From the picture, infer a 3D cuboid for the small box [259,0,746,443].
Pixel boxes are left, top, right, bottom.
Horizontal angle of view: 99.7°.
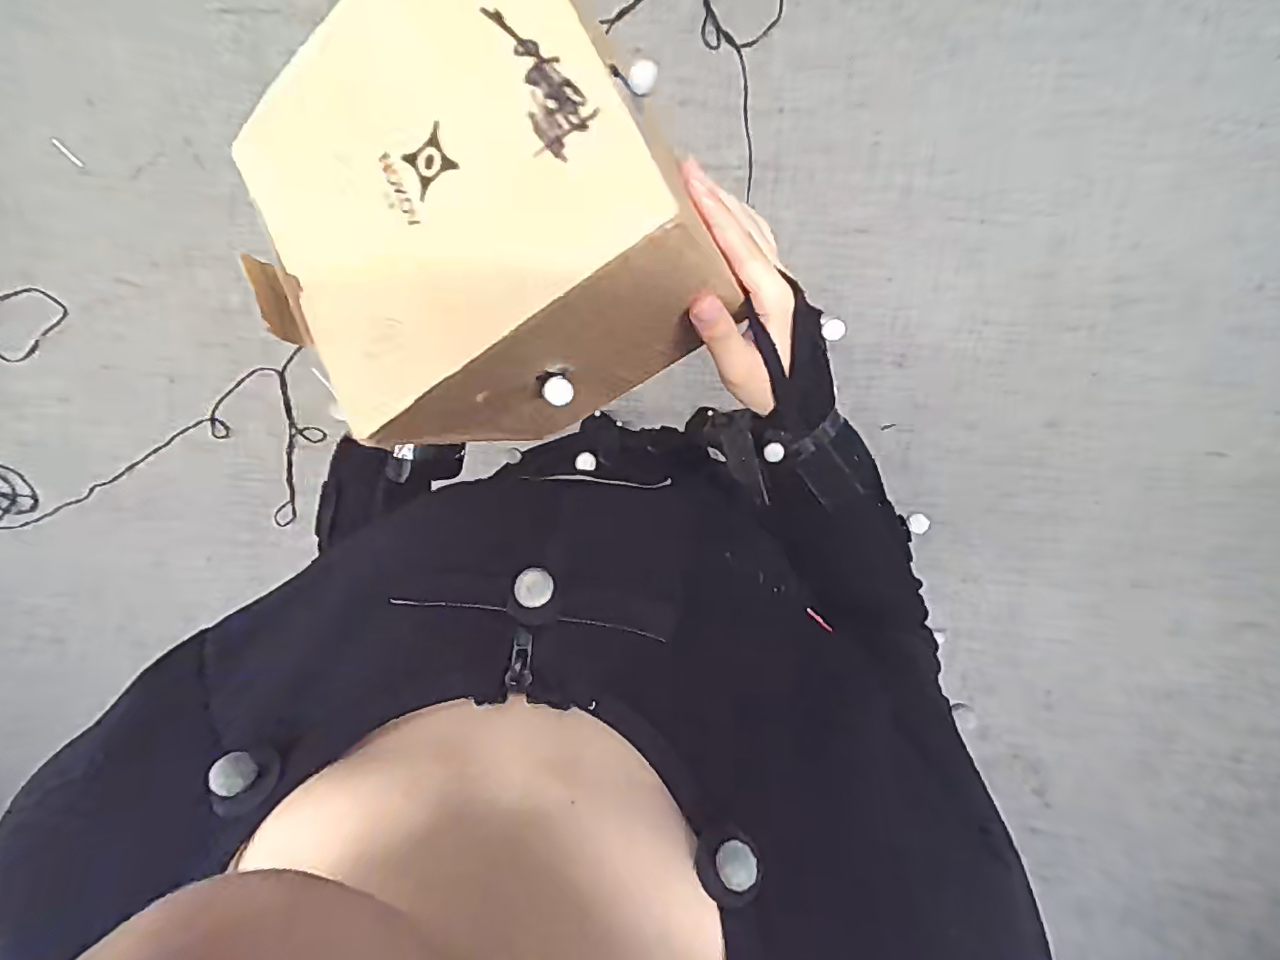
[{"bbox_3d":[-0.060,-0.132,0.312,0.179,0.176,0.168,-29,85,21],"label":"small box"}]
